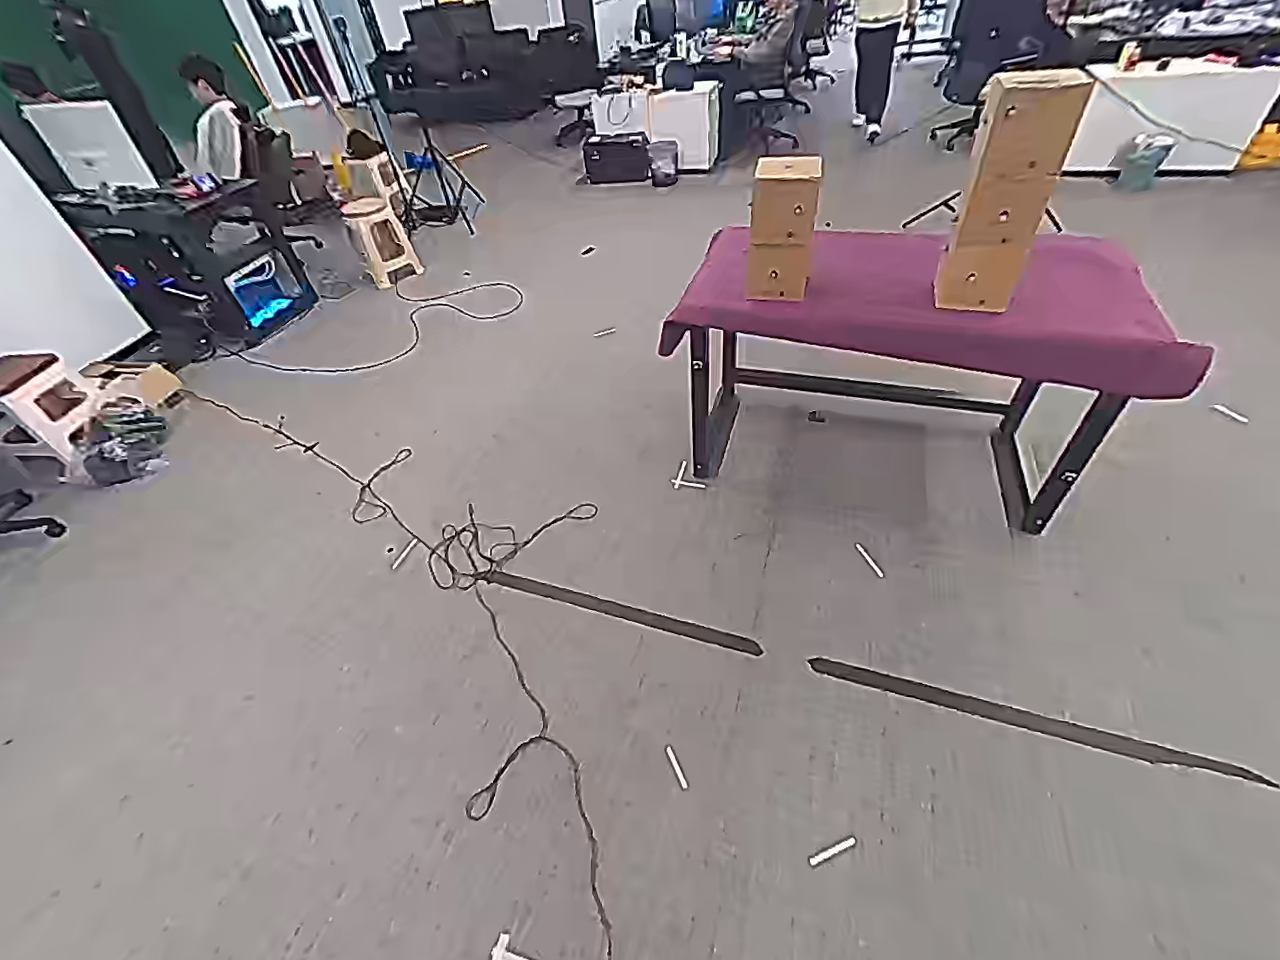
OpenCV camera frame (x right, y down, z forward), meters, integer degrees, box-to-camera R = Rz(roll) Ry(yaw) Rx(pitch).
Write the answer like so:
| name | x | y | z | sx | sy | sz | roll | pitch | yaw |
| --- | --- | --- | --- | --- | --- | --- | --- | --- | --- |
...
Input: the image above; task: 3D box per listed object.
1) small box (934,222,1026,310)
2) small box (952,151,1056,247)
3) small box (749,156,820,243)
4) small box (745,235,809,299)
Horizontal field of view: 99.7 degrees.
| name | x | y | z | sx | sy | sz | roll | pitch | yaw |
| --- | --- | --- | --- | --- | --- | --- | --- | --- | --- |
| small box | 0.899 | -0.573 | 1.447 | 0.168 | 0.176 | 0.179 | 10 | 47 | 17 |
| small box | 0.887 | -0.691 | 1.335 | 0.168 | 0.176 | 0.179 | 11 | 48 | 18 |
| small box | 0.388 | -0.754 | 1.456 | 0.168 | 0.176 | 0.179 | 7 | 45 | 12 |
| small box | 0.401 | -0.644 | 1.576 | 0.168 | 0.176 | 0.179 | 8 | 46 | 13 |
